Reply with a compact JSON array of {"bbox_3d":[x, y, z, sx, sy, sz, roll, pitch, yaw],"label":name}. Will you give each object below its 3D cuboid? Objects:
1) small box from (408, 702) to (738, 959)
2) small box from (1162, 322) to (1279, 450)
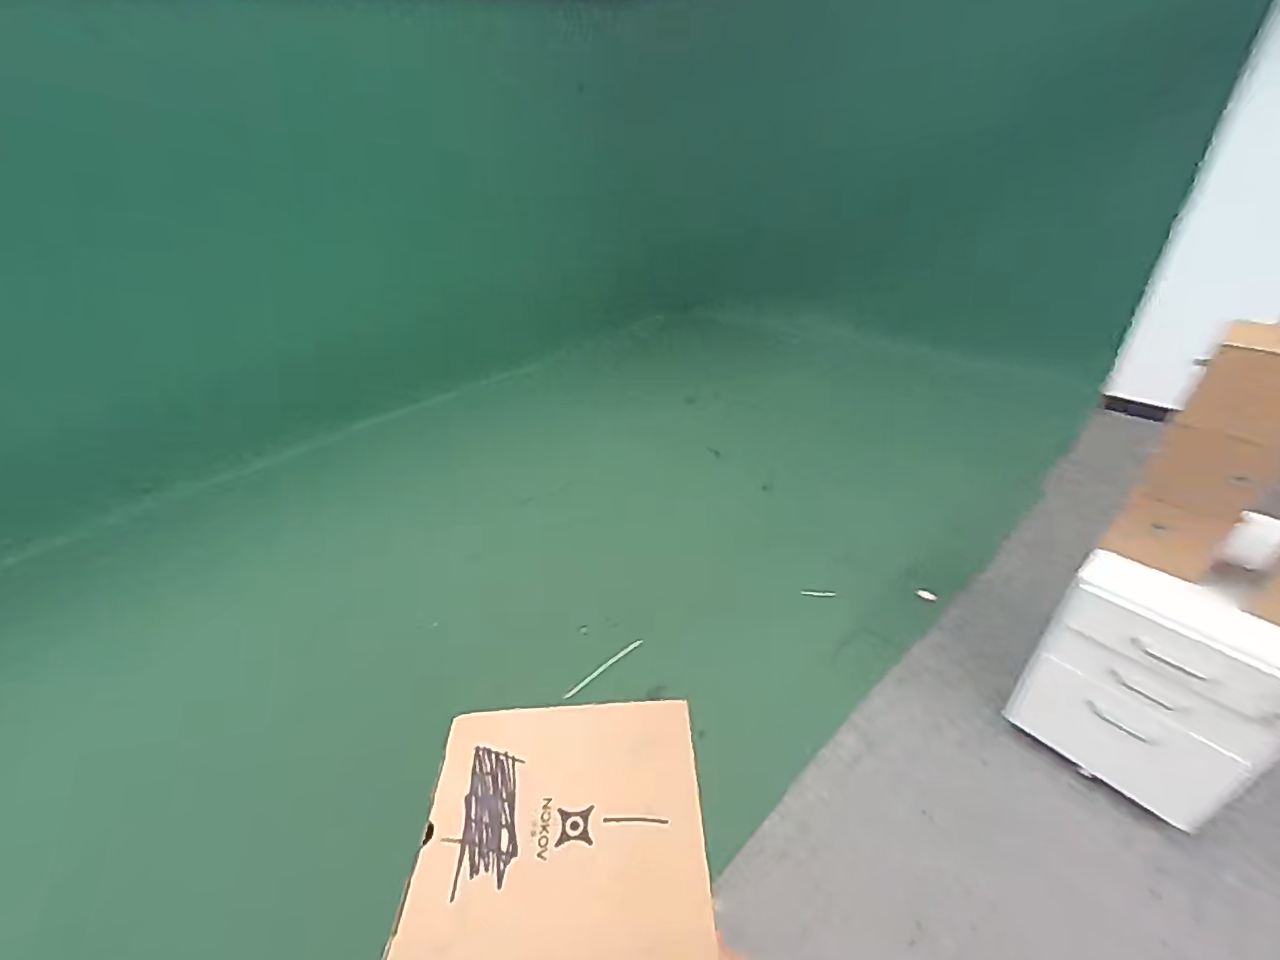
[{"bbox_3d":[-0.032,0.282,0.380,0.179,0.176,0.168,-2,33,0],"label":"small box"},{"bbox_3d":[1.140,-0.178,1.017,0.179,0.176,0.168,29,47,36],"label":"small box"}]
